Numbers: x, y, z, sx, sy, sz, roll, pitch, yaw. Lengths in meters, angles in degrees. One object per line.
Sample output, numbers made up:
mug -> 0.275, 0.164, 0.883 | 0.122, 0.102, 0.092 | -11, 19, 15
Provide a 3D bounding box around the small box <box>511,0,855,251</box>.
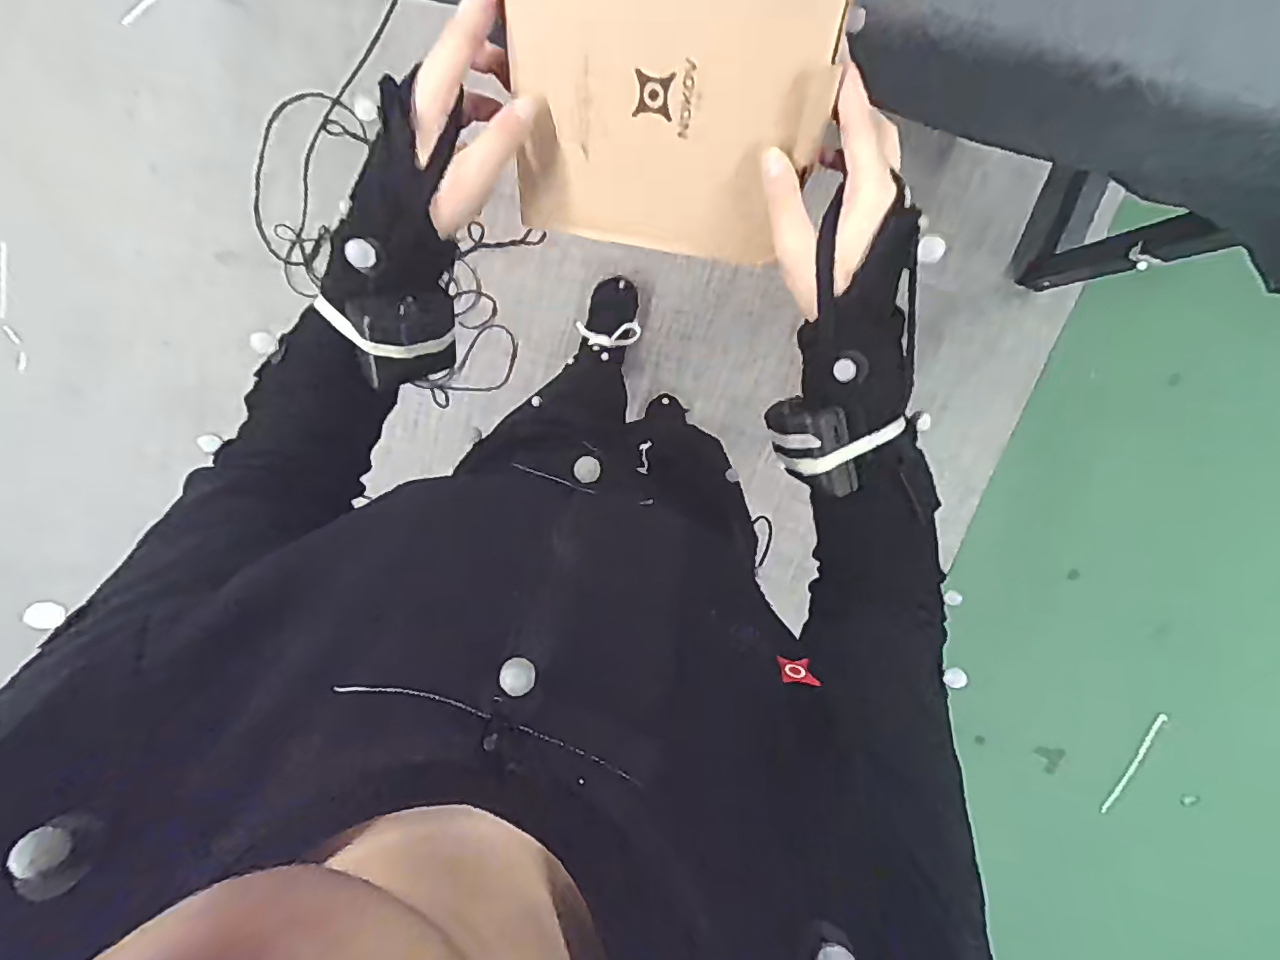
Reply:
small box -> 0.032, -0.270, 0.349 | 0.179, 0.176, 0.168 | 11, 134, 7
